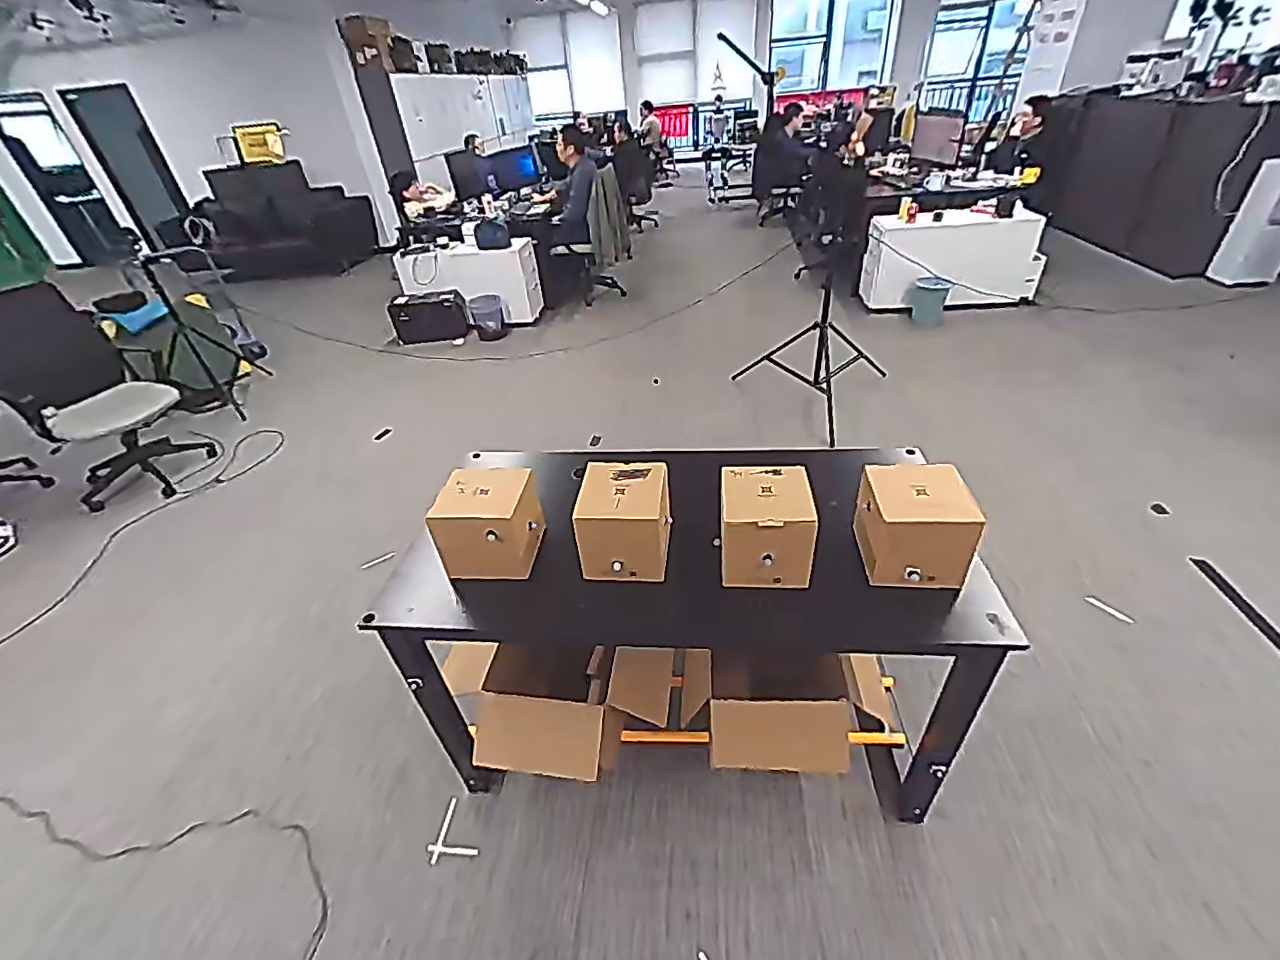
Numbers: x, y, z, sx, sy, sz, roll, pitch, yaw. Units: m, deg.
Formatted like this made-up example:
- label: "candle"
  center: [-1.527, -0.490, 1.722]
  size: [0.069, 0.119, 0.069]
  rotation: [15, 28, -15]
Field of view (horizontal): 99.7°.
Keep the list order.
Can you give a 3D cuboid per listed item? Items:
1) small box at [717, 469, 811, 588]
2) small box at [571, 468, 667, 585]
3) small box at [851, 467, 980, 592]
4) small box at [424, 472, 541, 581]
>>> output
- label: "small box"
  center: [0.238, 0.097, 1.071]
  size: [0.168, 0.176, 0.179]
  rotation: [-1, 36, 8]
- label: "small box"
  center: [-0.034, 0.092, 1.113]
  size: [0.168, 0.176, 0.179]
  rotation: [0, 37, 8]
- label: "small box"
  center: [0.514, 0.092, 1.039]
  size: [0.168, 0.176, 0.179]
  rotation: [-1, 36, 9]
- label: "small box"
  center: [-0.318, 0.098, 1.141]
  size: [0.179, 0.176, 0.168]
  rotation: [-1, 35, 6]
